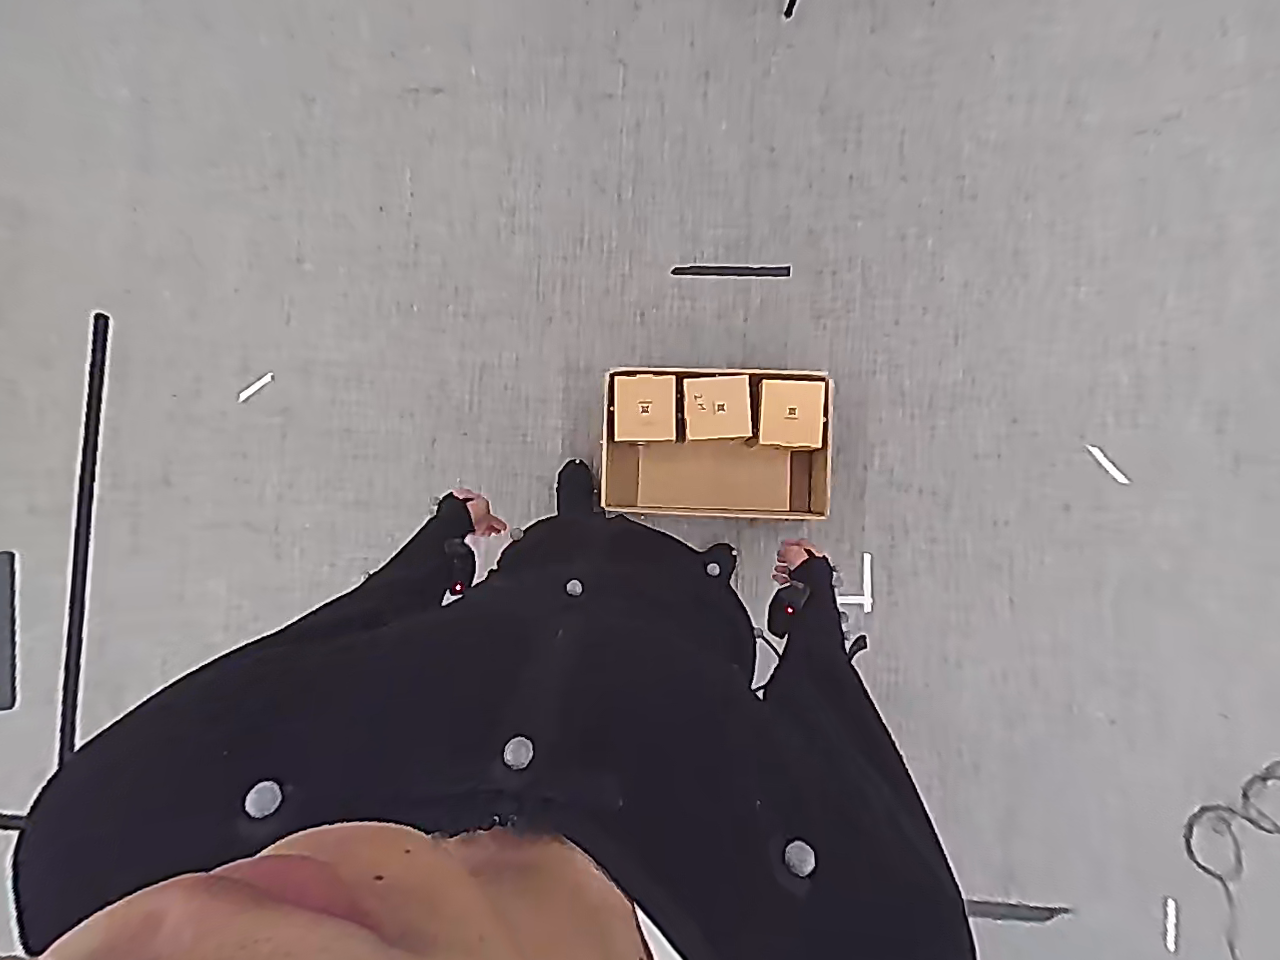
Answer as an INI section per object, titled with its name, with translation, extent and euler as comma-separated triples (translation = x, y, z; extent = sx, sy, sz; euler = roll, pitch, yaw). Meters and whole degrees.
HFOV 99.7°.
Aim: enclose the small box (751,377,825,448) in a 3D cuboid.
[small box]
translation = 0.406, -0.184, 1.508
extent = 0.168, 0.176, 0.179
euler = 2, 91, 3
